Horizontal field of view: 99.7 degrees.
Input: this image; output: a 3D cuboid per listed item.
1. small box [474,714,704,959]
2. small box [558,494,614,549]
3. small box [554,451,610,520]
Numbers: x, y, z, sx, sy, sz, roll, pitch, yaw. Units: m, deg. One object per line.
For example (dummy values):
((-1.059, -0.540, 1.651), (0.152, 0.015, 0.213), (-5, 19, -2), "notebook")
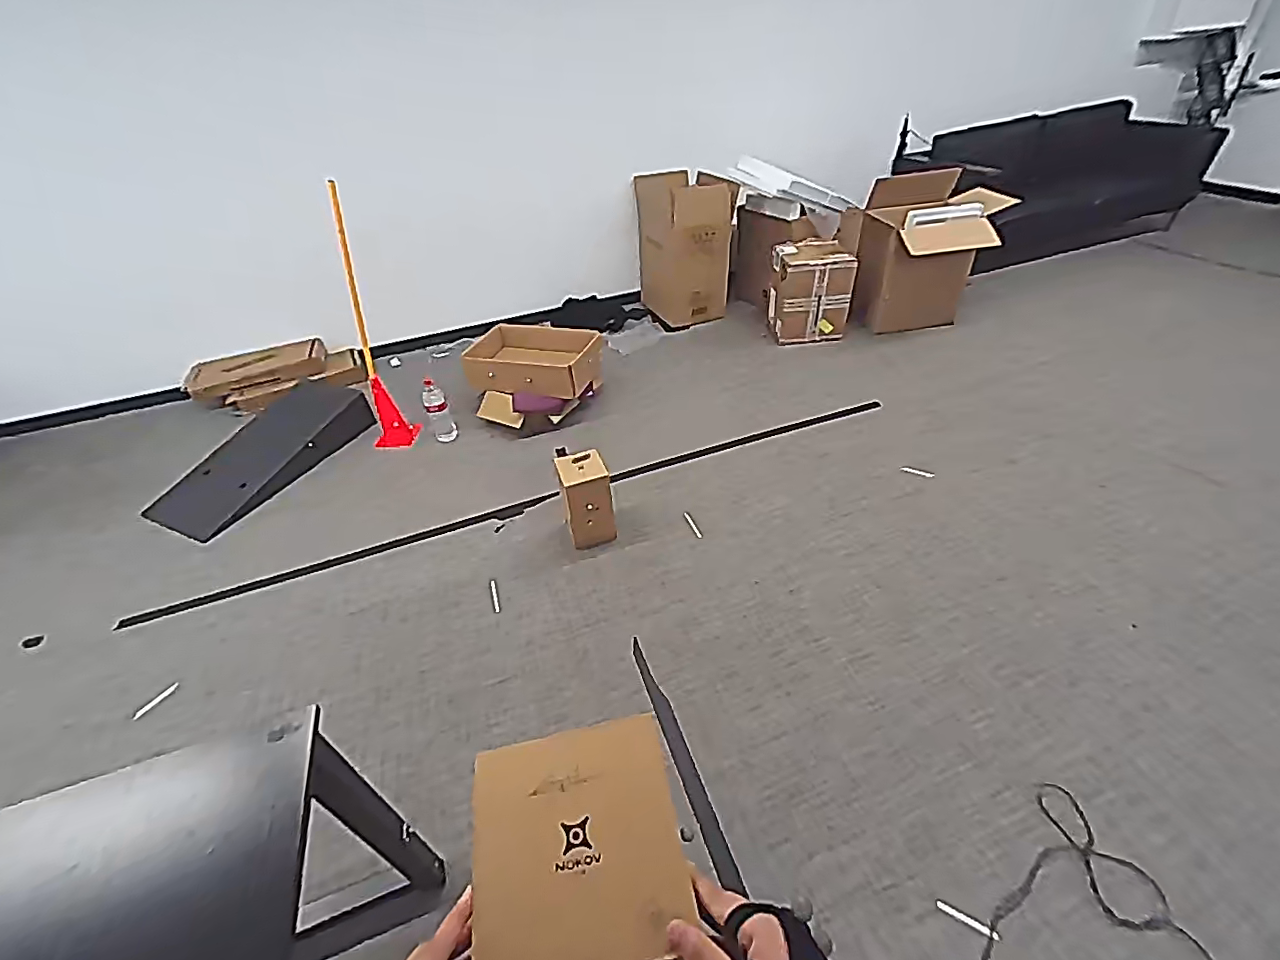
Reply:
((-0.044, 0.347, 0.485), (0.168, 0.176, 0.179), (-10, 42, -7), "small box")
((-0.210, 0.146, 2.131), (0.179, 0.176, 0.168), (-15, 41, -13), "small box")
((-0.216, 0.022, 2.023), (0.168, 0.176, 0.179), (-15, 41, -13), "small box")
